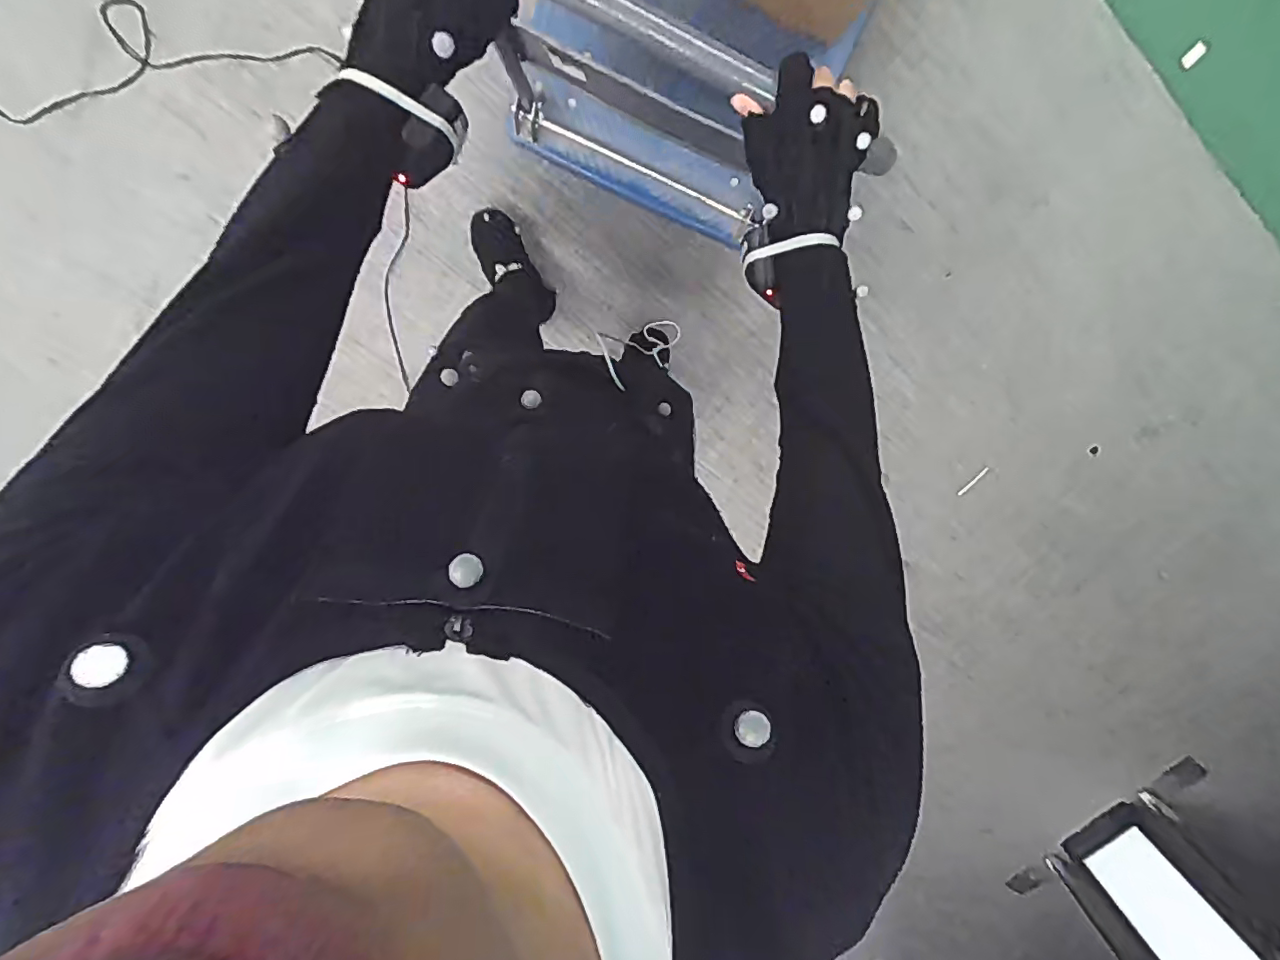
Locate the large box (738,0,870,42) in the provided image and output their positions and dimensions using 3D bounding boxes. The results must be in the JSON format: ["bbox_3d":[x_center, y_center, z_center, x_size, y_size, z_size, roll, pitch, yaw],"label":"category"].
[{"bbox_3d":[0.233,-0.968,0.815,0.408,0.320,0.320,20,108,-7],"label":"large box"}]
